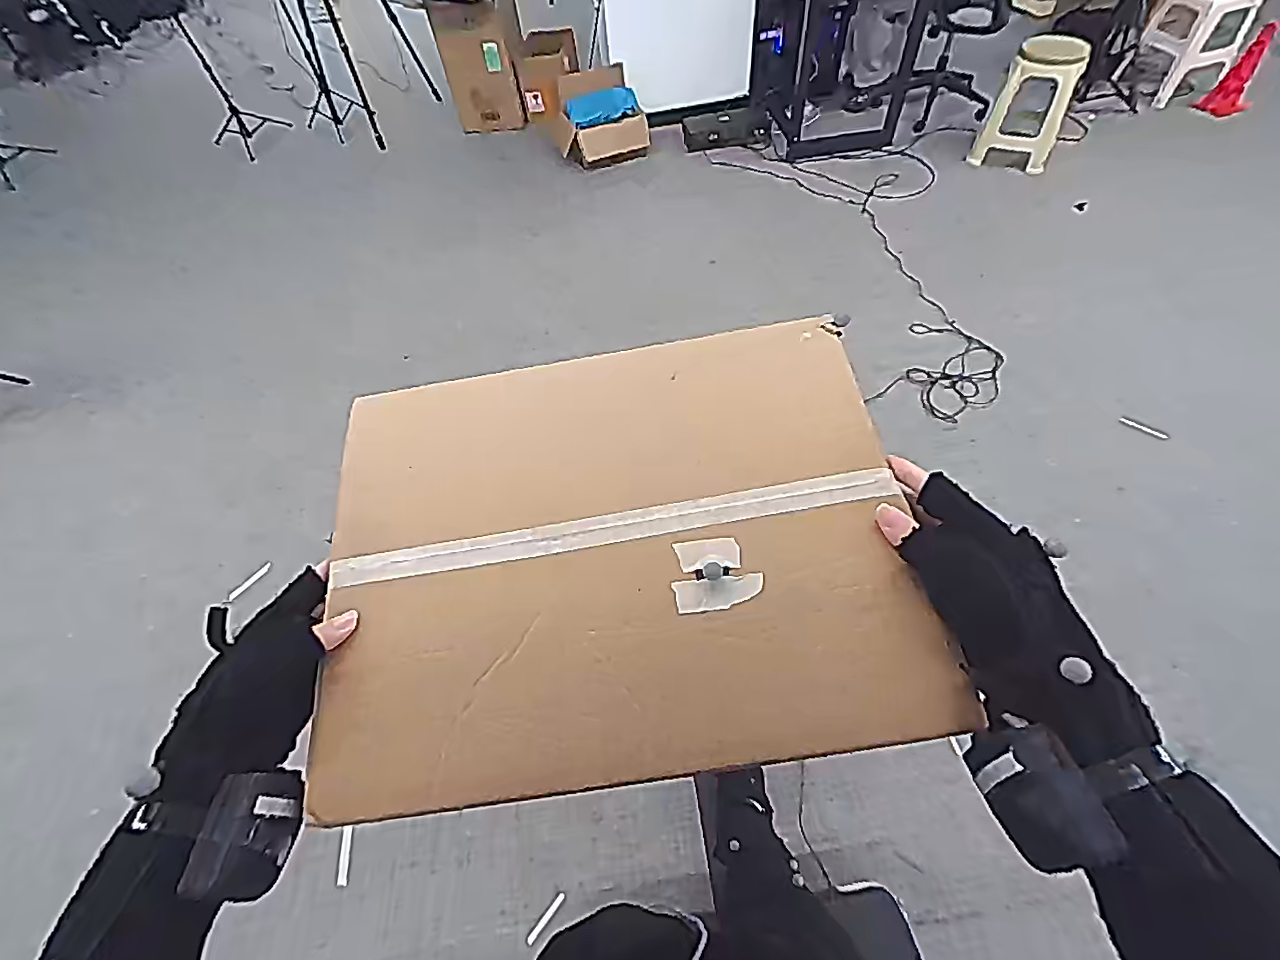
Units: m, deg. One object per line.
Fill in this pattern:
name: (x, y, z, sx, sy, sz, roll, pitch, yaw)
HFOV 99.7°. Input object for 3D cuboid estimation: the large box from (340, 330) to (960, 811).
large box: (-0.003, 0.105, 0.534, 0.408, 0.320, 0.320, -10, 64, 2)
